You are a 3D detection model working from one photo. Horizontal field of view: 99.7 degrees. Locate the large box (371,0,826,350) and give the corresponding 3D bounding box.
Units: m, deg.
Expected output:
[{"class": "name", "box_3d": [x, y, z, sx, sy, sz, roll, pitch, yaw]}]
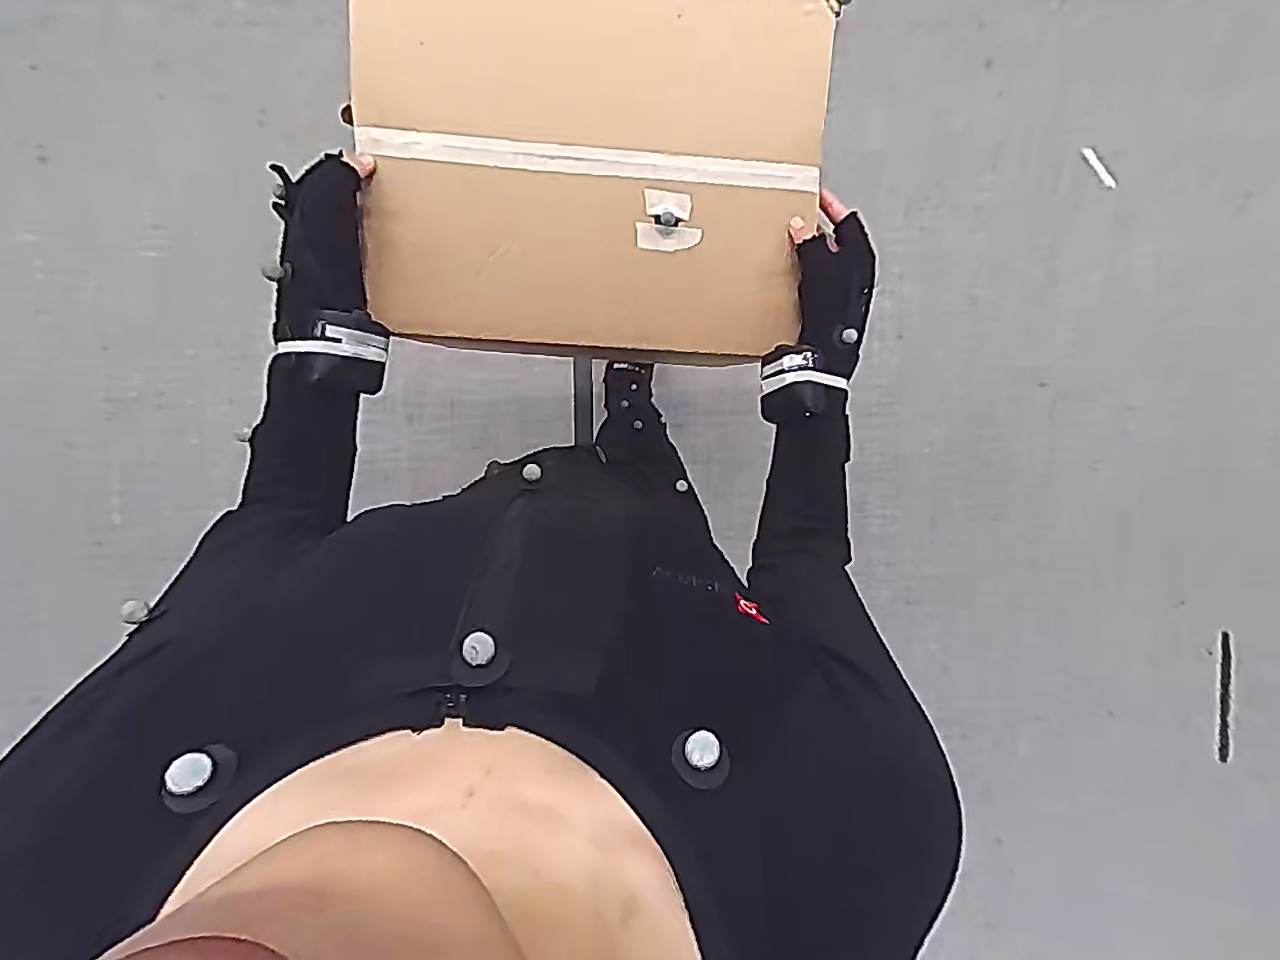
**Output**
[{"class": "large box", "box_3d": [-0.049, -0.325, 0.640, 0.408, 0.320, 0.320, 2, 101, -5]}]
